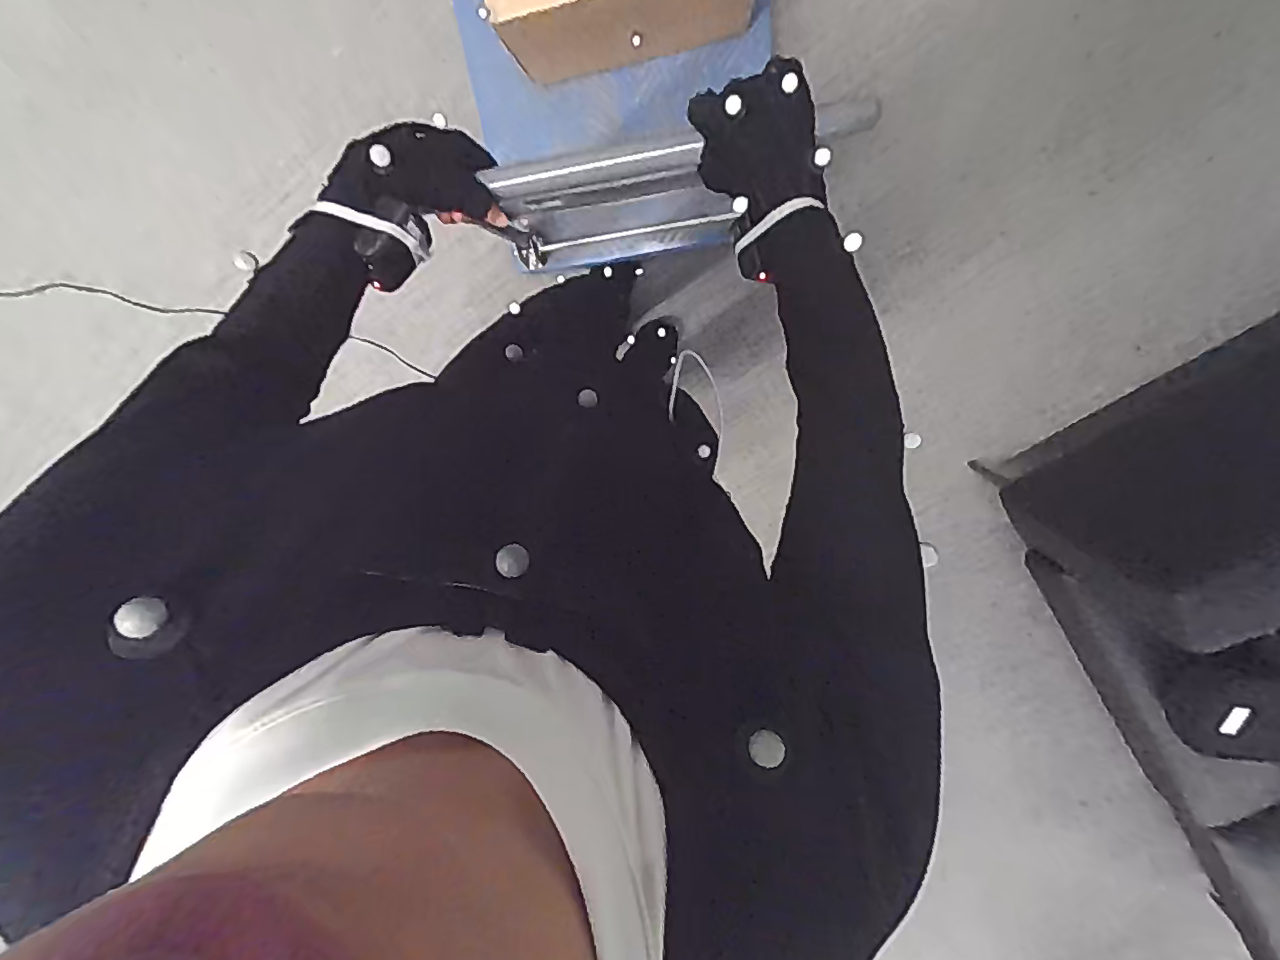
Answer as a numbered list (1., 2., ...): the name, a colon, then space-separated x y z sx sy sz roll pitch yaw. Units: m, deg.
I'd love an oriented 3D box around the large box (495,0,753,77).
1. large box: -0.032 -0.894 0.836 0.408 0.320 0.320 -10 111 8
